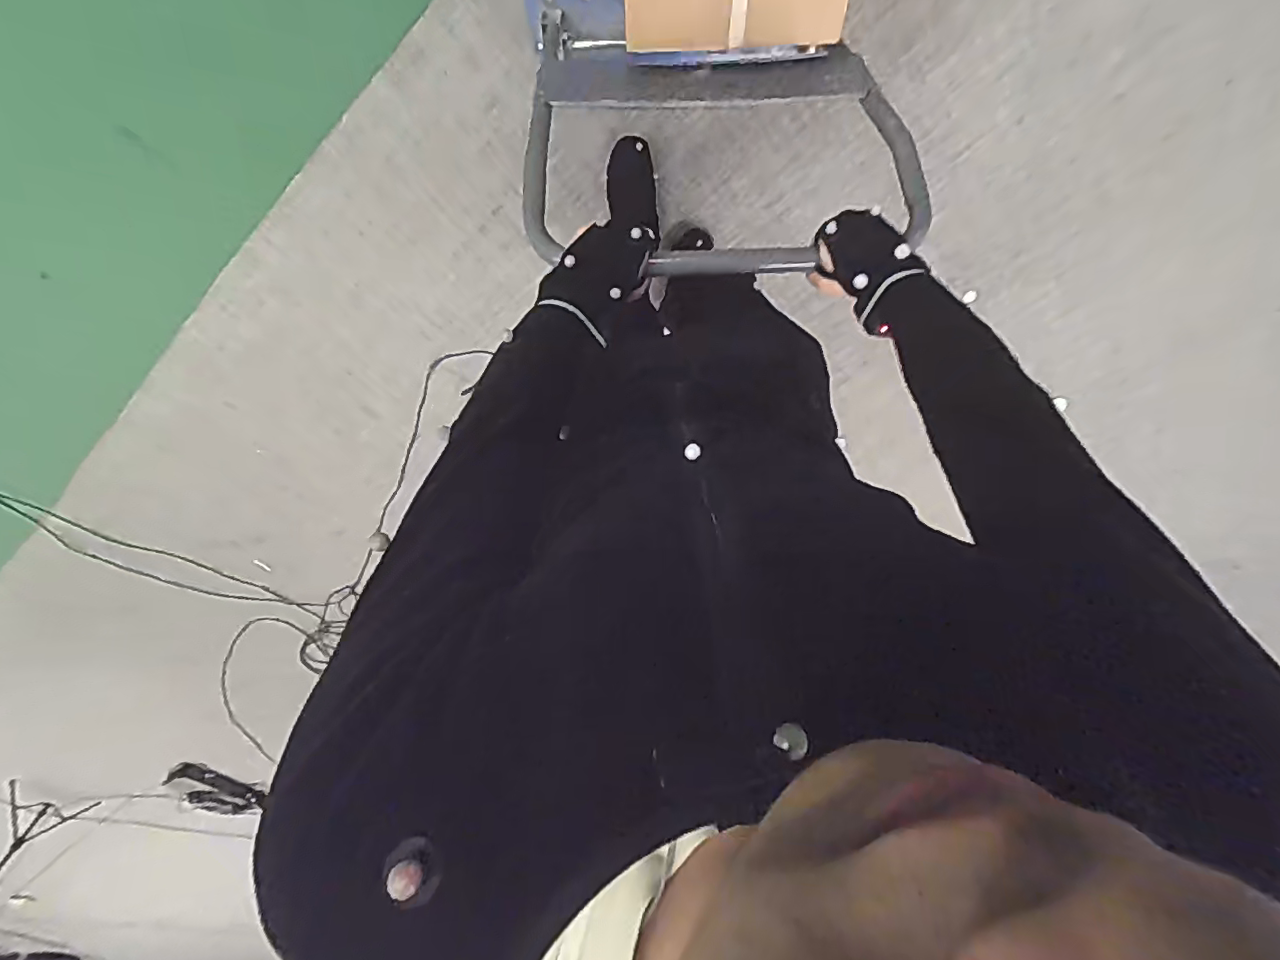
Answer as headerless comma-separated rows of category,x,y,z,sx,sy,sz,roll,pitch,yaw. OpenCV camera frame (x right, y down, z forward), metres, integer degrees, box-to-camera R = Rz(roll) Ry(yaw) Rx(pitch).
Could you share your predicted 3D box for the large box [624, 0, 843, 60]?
large box,0.125,-0.875,0.747,0.320,0.320,0.408,-3,142,0
